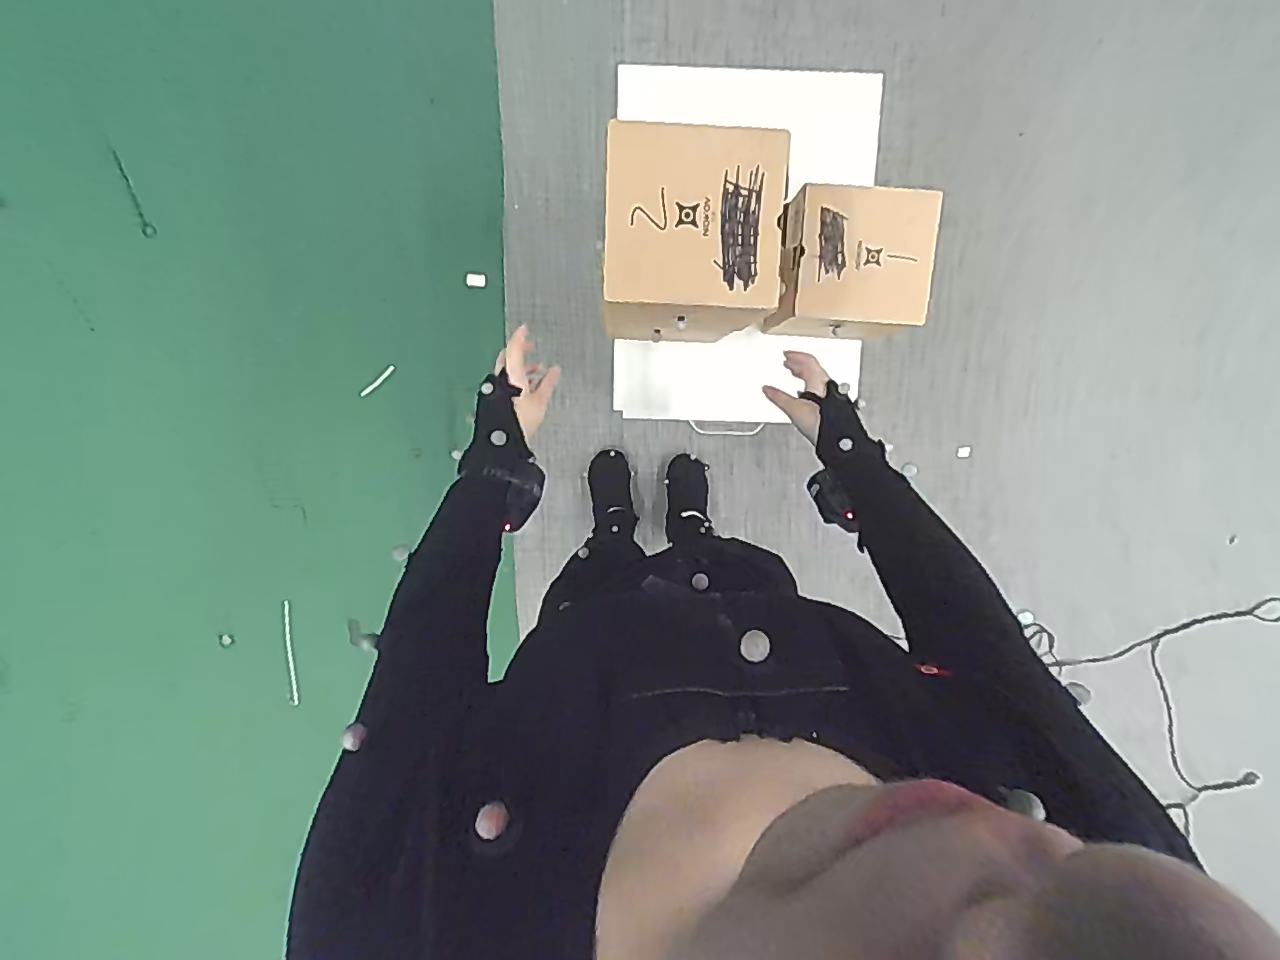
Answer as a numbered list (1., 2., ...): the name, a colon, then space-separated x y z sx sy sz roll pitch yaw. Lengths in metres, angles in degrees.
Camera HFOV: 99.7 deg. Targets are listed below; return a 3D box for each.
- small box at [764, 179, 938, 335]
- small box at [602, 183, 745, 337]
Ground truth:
1. small box: 0.284 -0.303 0.768 0.179 0.176 0.168 3 98 -2
2. small box: 0.039 -0.296 0.763 0.179 0.176 0.168 1 99 -3
